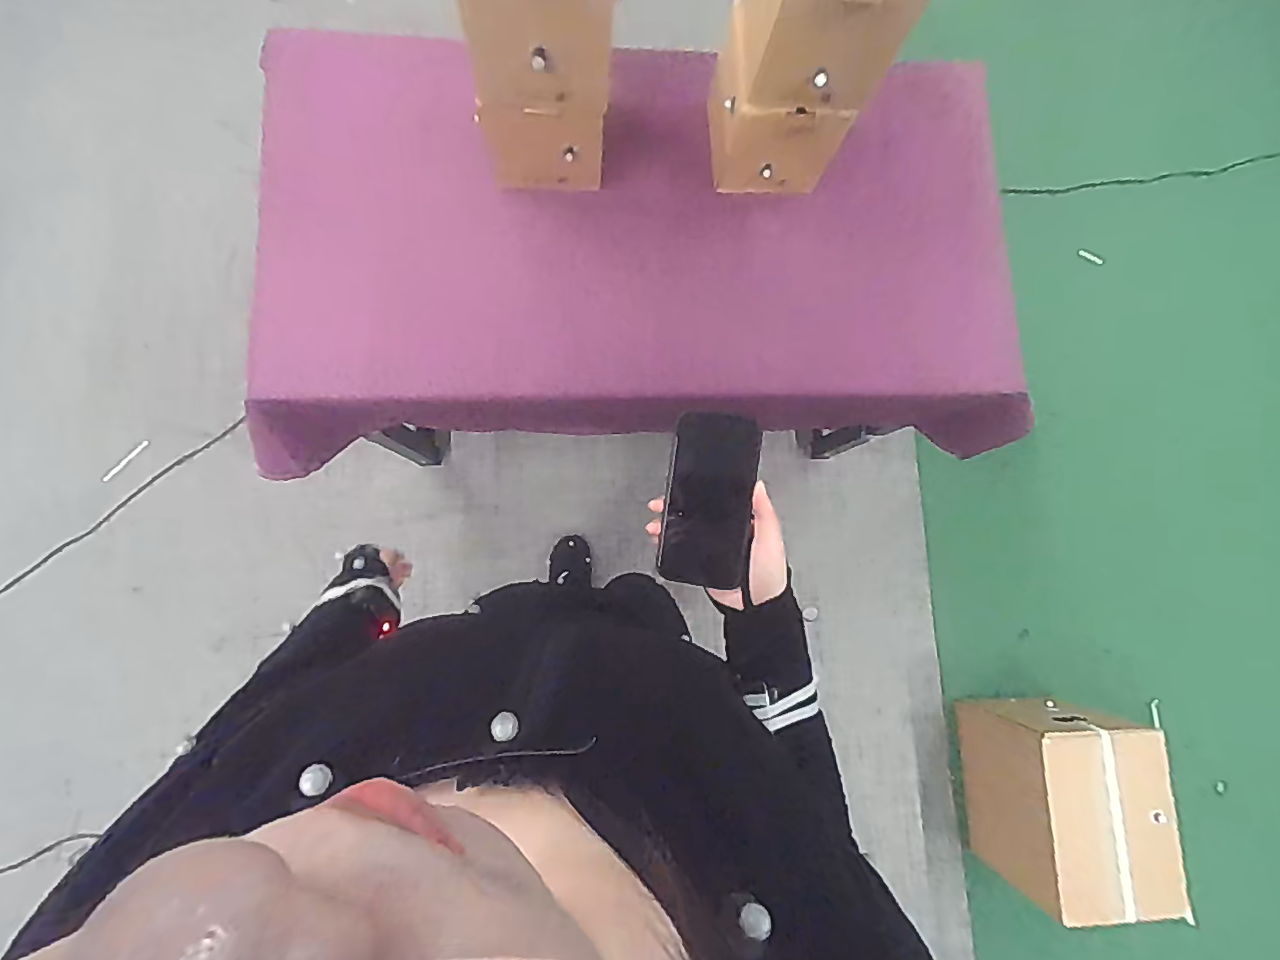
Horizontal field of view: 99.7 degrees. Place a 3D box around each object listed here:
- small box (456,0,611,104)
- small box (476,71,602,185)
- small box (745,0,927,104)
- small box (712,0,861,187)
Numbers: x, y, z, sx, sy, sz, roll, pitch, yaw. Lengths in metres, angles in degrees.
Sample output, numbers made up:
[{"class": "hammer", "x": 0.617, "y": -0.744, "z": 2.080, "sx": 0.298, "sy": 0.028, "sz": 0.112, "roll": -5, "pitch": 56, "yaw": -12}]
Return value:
[{"class": "small box", "x": -0.117, "y": -0.578, "z": 0.626, "sx": 0.168, "sy": 0.176, "sz": 0.179, "roll": -1, "pitch": 84, "yaw": -6}, {"class": "small box", "x": -0.138, "y": -0.561, "z": 0.789, "sx": 0.168, "sy": 0.176, "sz": 0.179, "roll": -1, "pitch": 83, "yaw": -6}, {"class": "small box", "x": 0.230, "y": -0.607, "z": 0.659, "sx": 0.168, "sy": 0.176, "sz": 0.179, "roll": -1, "pitch": 84, "yaw": -5}, {"class": "small box", "x": 0.210, "y": -0.580, "z": 0.821, "sx": 0.168, "sy": 0.176, "sz": 0.179, "roll": -3, "pitch": 84, "yaw": -5}]
